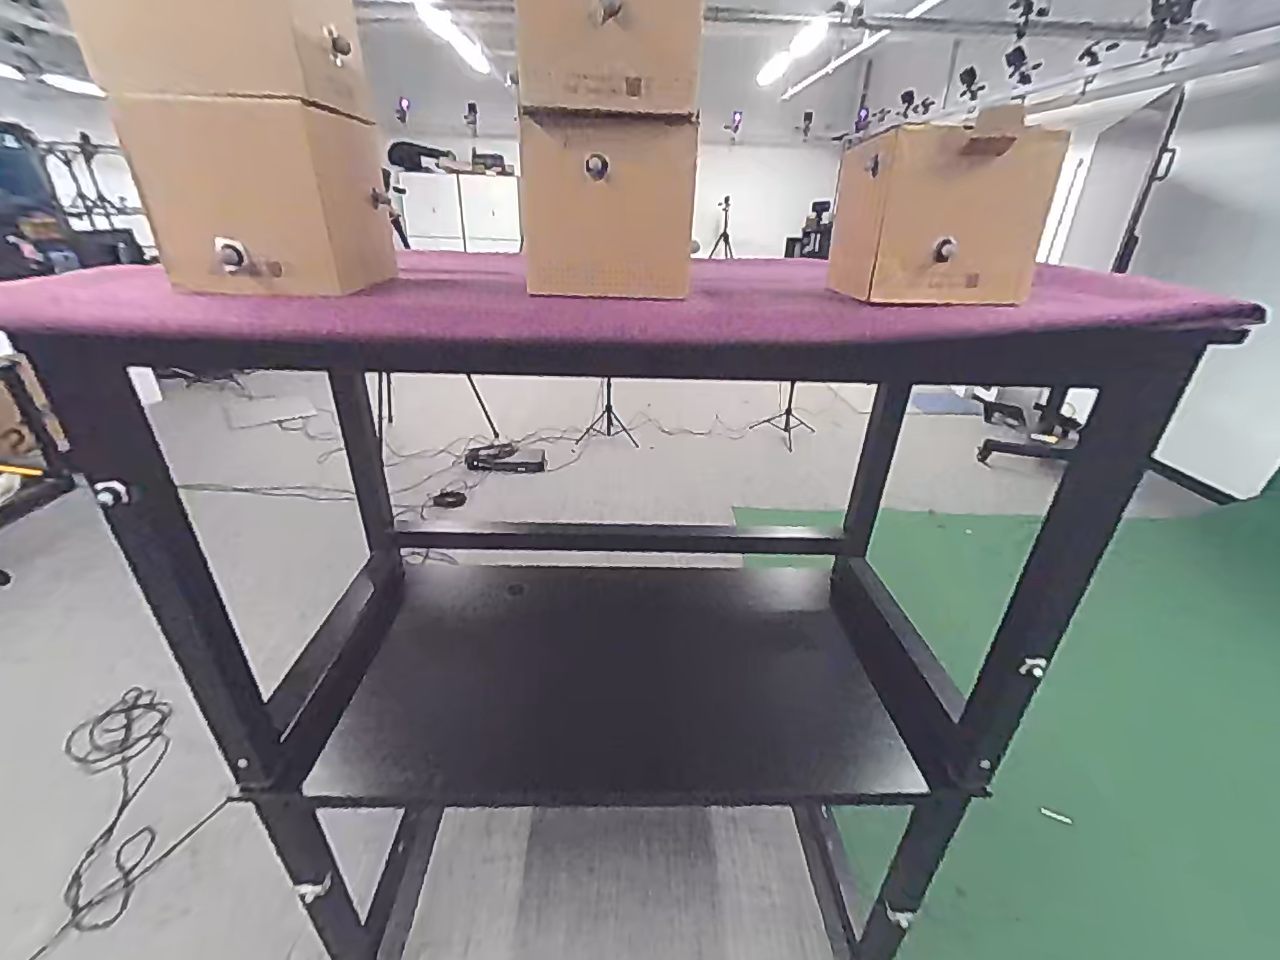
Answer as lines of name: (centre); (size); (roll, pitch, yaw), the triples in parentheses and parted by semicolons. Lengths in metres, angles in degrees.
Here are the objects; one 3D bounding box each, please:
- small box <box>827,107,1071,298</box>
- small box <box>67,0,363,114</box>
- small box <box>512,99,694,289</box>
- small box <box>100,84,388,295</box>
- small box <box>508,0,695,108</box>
small box: (0.324, -0.306, 0.615); (0.168, 0.176, 0.179); (1, 25, 2)
small box: (-0.387, -0.445, 0.496); (0.179, 0.176, 0.168); (-2, 28, -5)
small box: (-0.036, -0.312, 0.613); (0.179, 0.176, 0.168); (1, 26, -1)
small box: (-0.384, -0.298, 0.571); (0.168, 0.176, 0.179); (-2, 28, -5)
small box: (-0.038, -0.454, 0.530); (0.168, 0.176, 0.179); (-1, 27, -6)
